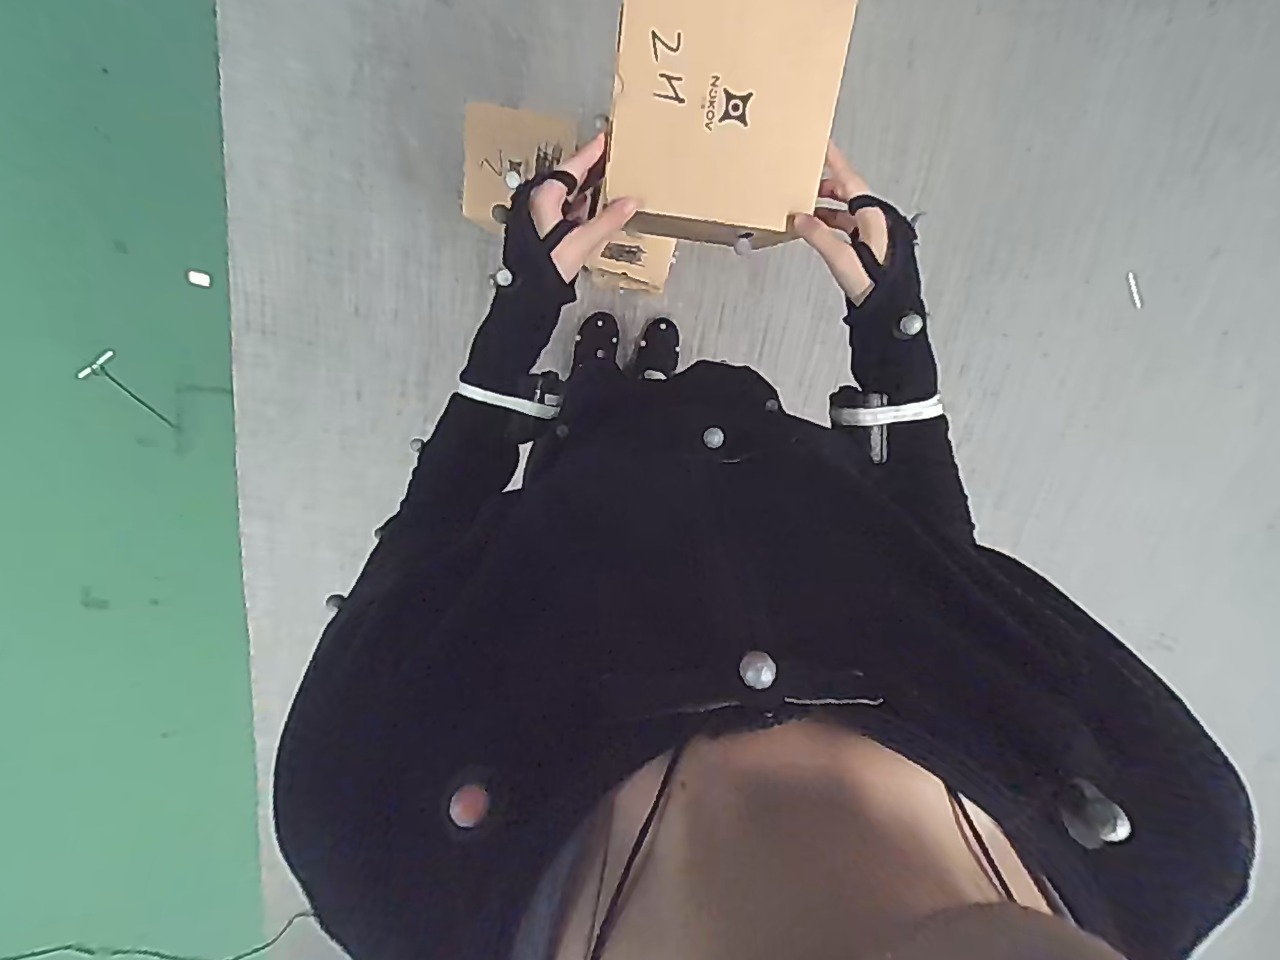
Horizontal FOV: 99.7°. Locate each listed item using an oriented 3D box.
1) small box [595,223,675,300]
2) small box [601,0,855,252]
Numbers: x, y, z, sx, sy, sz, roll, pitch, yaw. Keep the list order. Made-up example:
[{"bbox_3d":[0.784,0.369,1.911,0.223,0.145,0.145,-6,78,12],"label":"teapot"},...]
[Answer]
[{"bbox_3d":[-0.010,-0.533,1.281,0.168,0.176,0.179,9,108,-4],"label":"small box"},{"bbox_3d":[0.061,-0.309,0.493,0.179,0.176,0.168,6,108,-4],"label":"small box"}]
